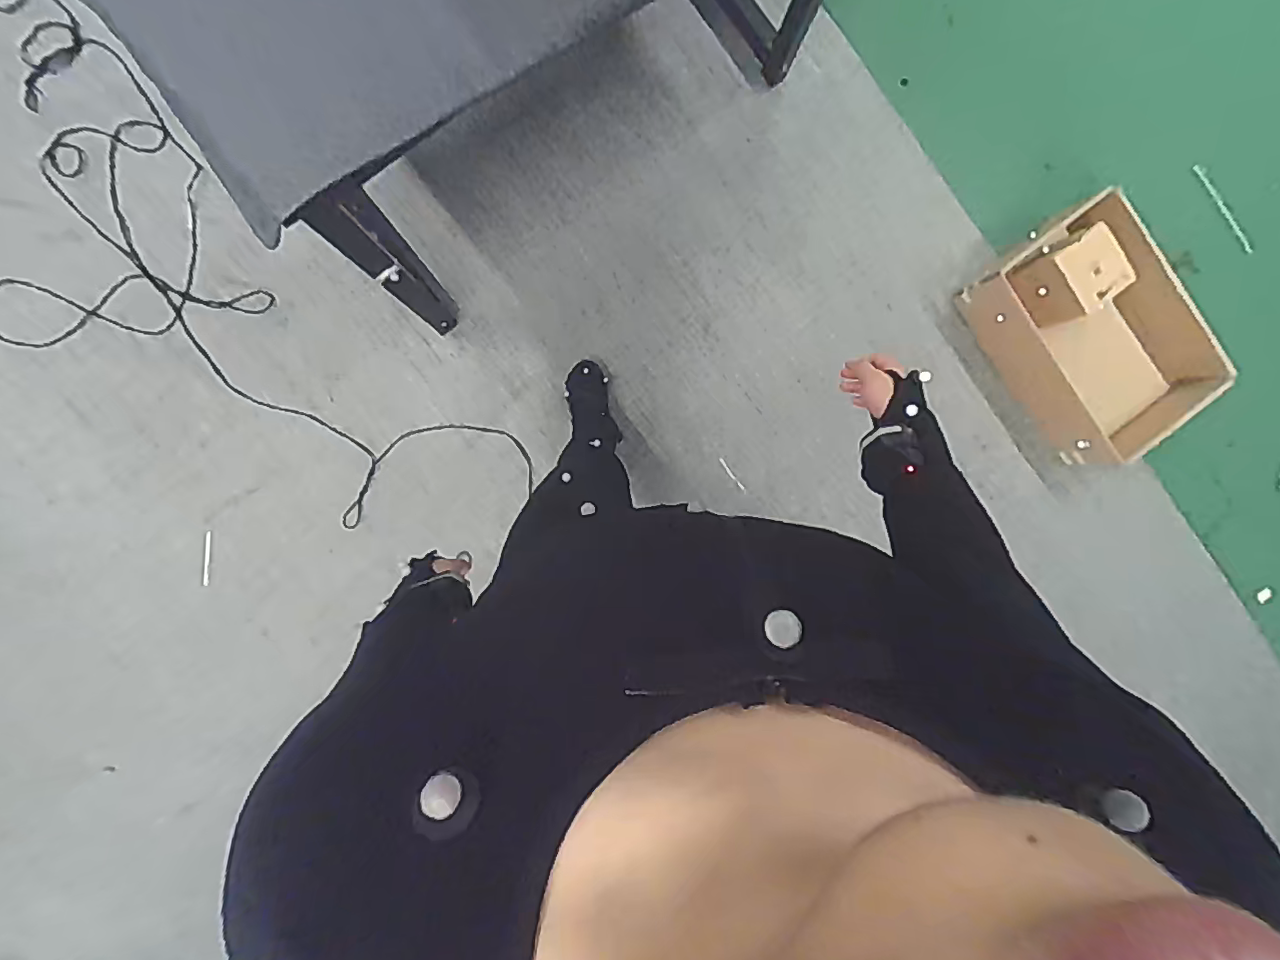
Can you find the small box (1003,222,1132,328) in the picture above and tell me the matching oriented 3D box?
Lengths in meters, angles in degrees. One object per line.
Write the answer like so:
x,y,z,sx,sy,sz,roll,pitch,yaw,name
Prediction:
1.115,-0.530,1.427,0.168,0.176,0.179,-36,94,-2,small box
